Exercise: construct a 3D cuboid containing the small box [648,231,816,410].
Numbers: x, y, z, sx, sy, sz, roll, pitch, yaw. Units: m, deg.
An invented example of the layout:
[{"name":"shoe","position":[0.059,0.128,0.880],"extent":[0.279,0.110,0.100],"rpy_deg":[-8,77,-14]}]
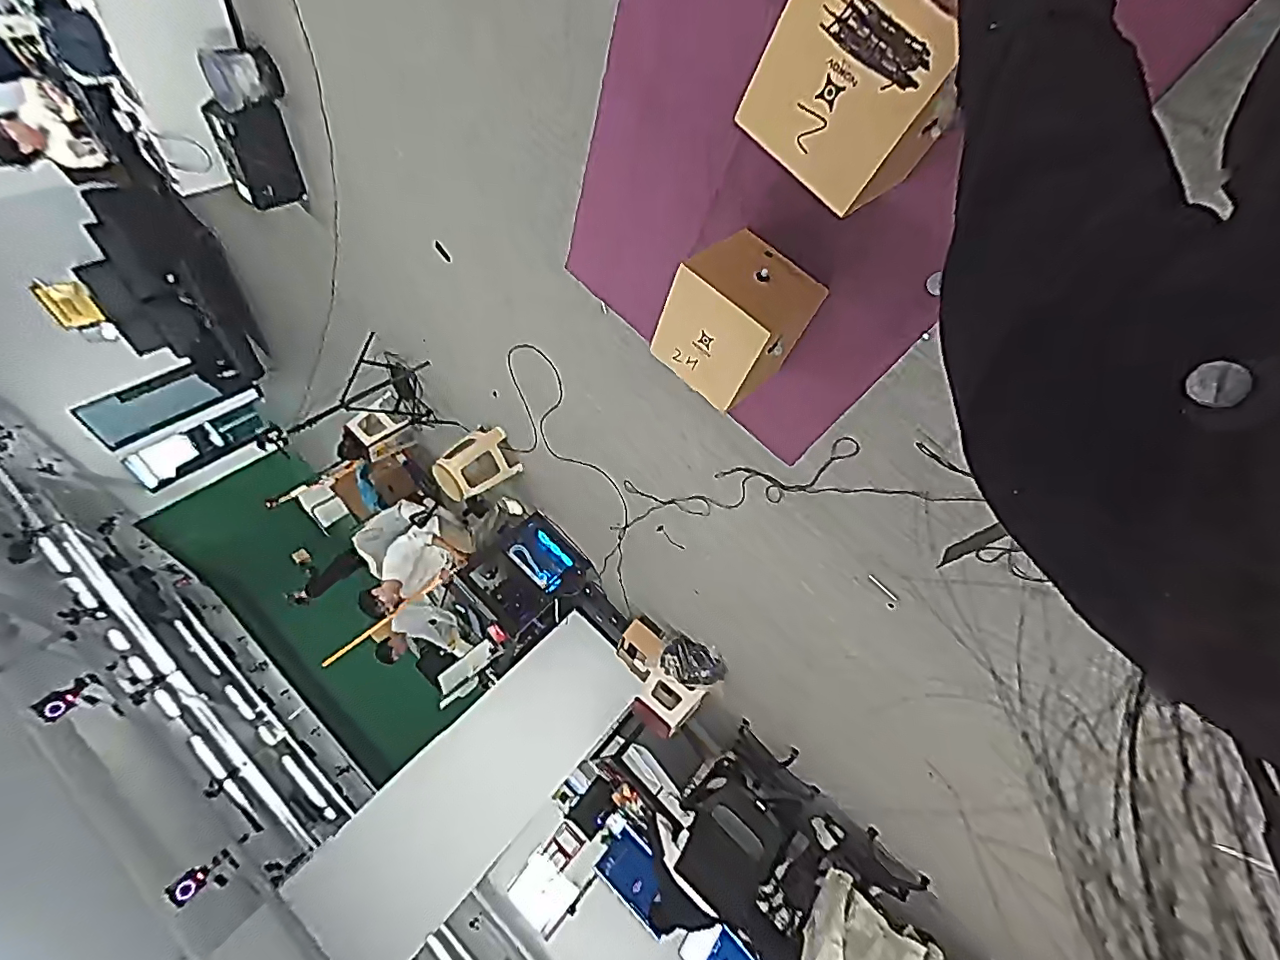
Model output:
[{"name":"small box","position":[0.143,-0.249,0.836],"extent":[0.168,0.176,0.179],"rpy_deg":[44,147,12]}]
